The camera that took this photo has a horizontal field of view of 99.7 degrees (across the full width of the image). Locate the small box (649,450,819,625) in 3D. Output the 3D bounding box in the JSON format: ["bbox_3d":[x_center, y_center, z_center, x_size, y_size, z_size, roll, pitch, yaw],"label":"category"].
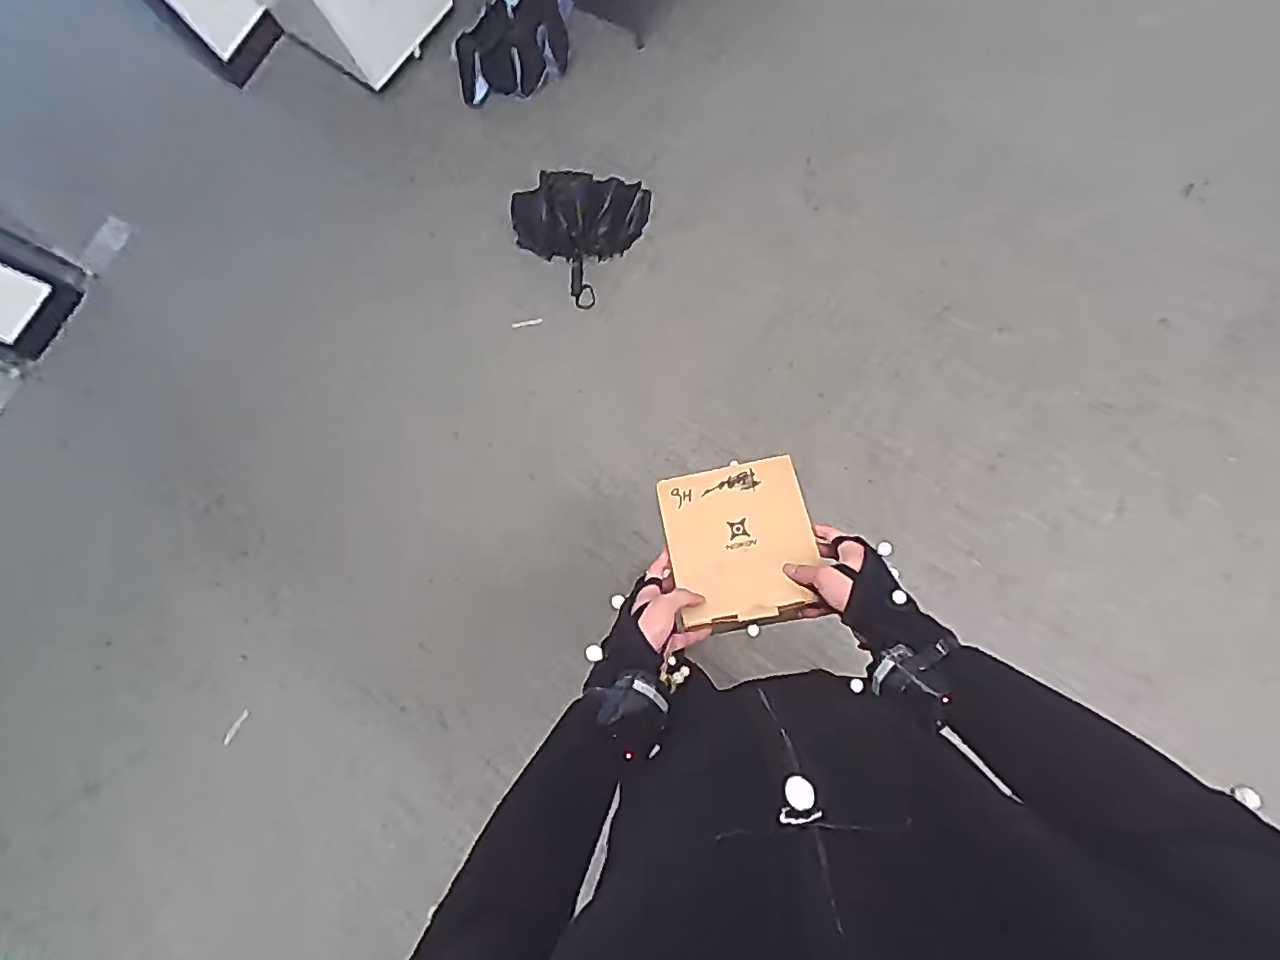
[{"bbox_3d":[0.114,0.085,0.691,0.168,0.176,0.179,-11,69,4],"label":"small box"}]
